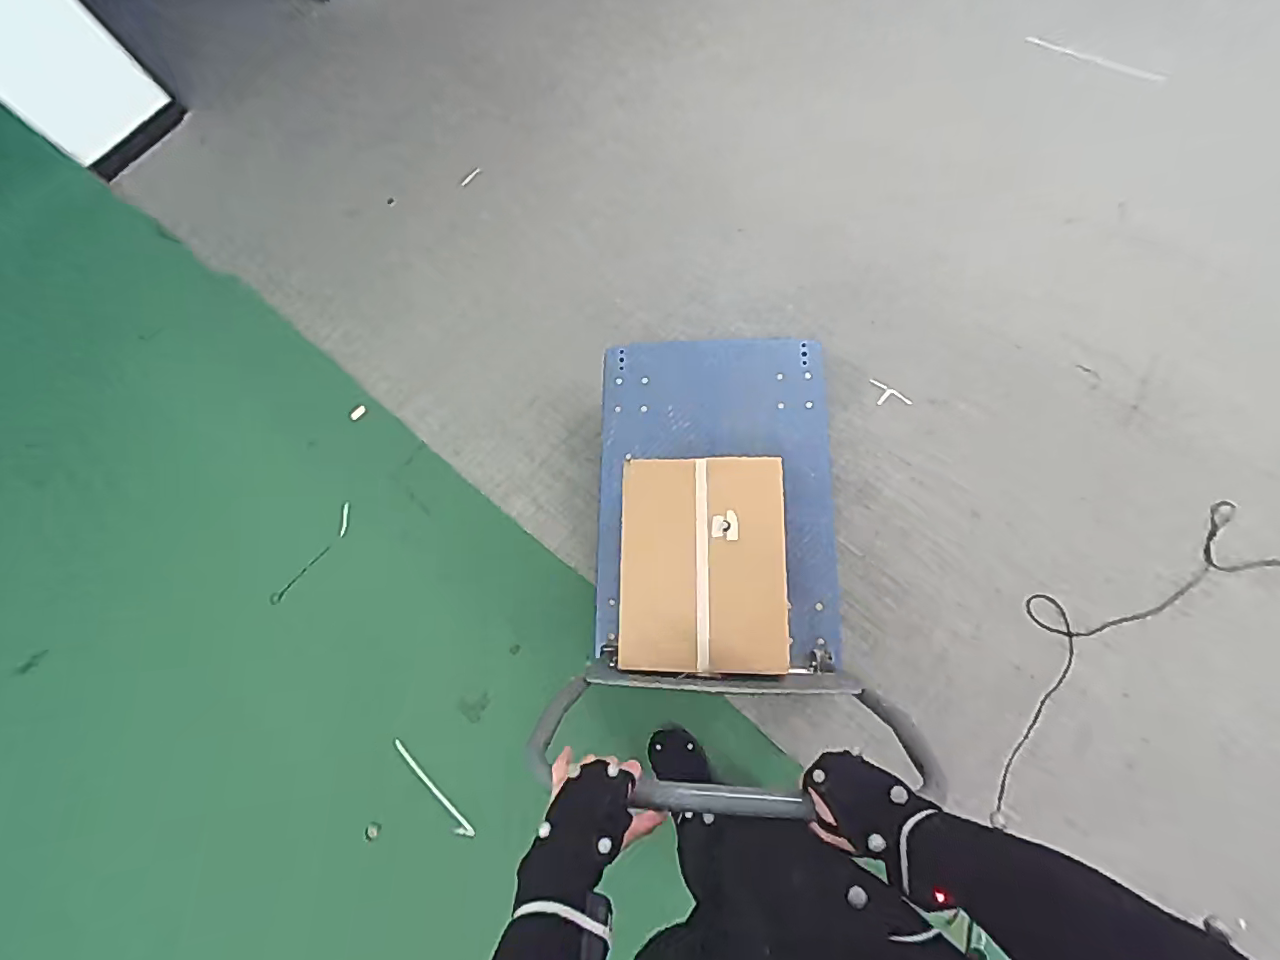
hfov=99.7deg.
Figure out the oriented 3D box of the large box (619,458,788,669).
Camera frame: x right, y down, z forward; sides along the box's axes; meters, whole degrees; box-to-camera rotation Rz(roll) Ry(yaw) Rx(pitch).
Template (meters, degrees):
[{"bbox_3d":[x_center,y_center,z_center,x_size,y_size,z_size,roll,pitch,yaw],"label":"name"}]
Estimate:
[{"bbox_3d":[0.134,0.189,1.178,0.320,0.320,0.408,-1,76,6],"label":"large box"}]
